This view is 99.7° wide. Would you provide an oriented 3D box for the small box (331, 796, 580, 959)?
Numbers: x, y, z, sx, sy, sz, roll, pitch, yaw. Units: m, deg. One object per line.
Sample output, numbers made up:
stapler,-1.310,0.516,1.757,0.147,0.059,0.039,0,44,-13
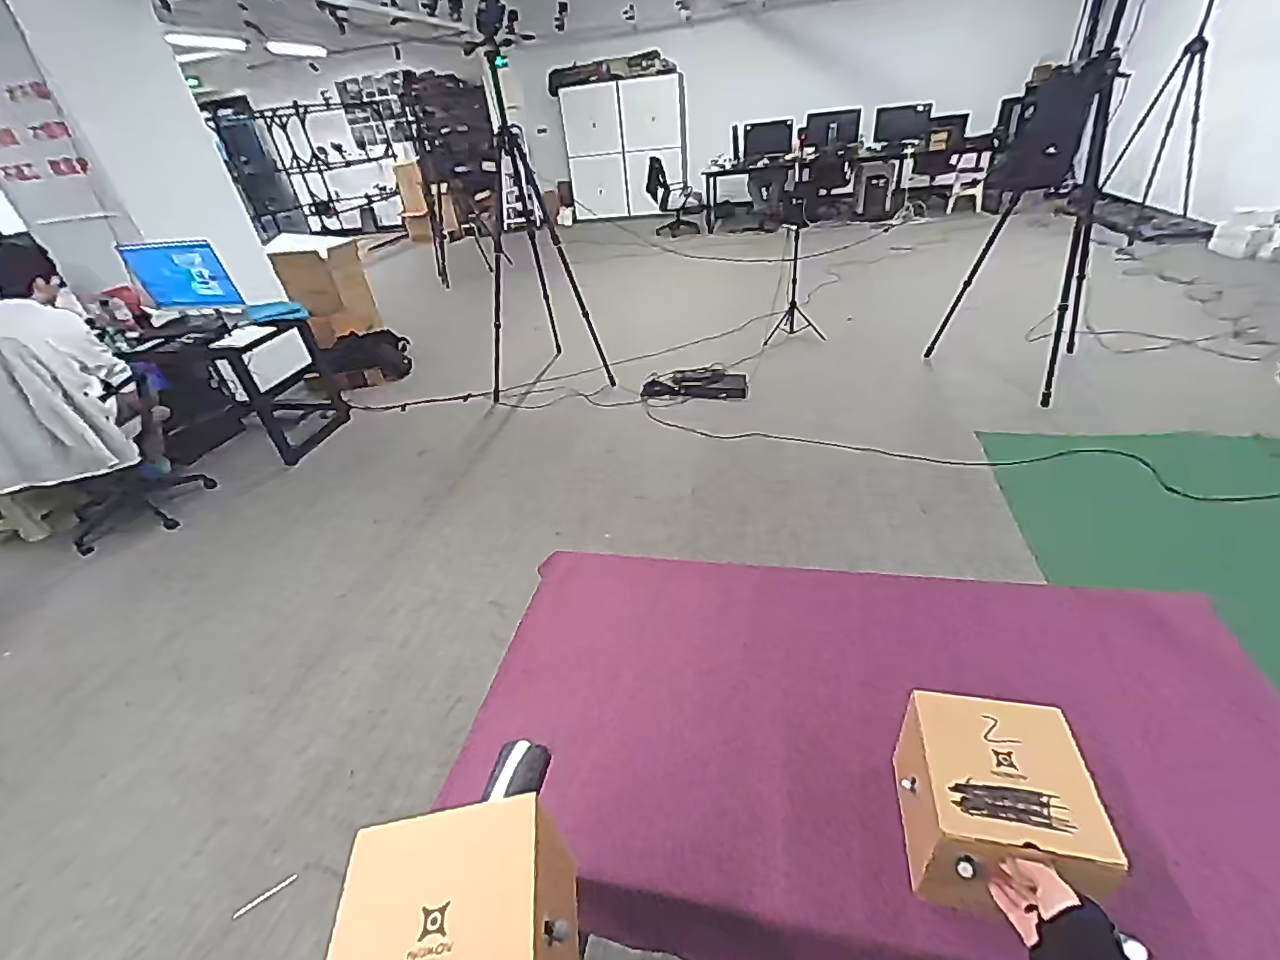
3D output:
small box,-0.149,0.415,0.471,0.168,0.176,0.179,-11,38,-2
